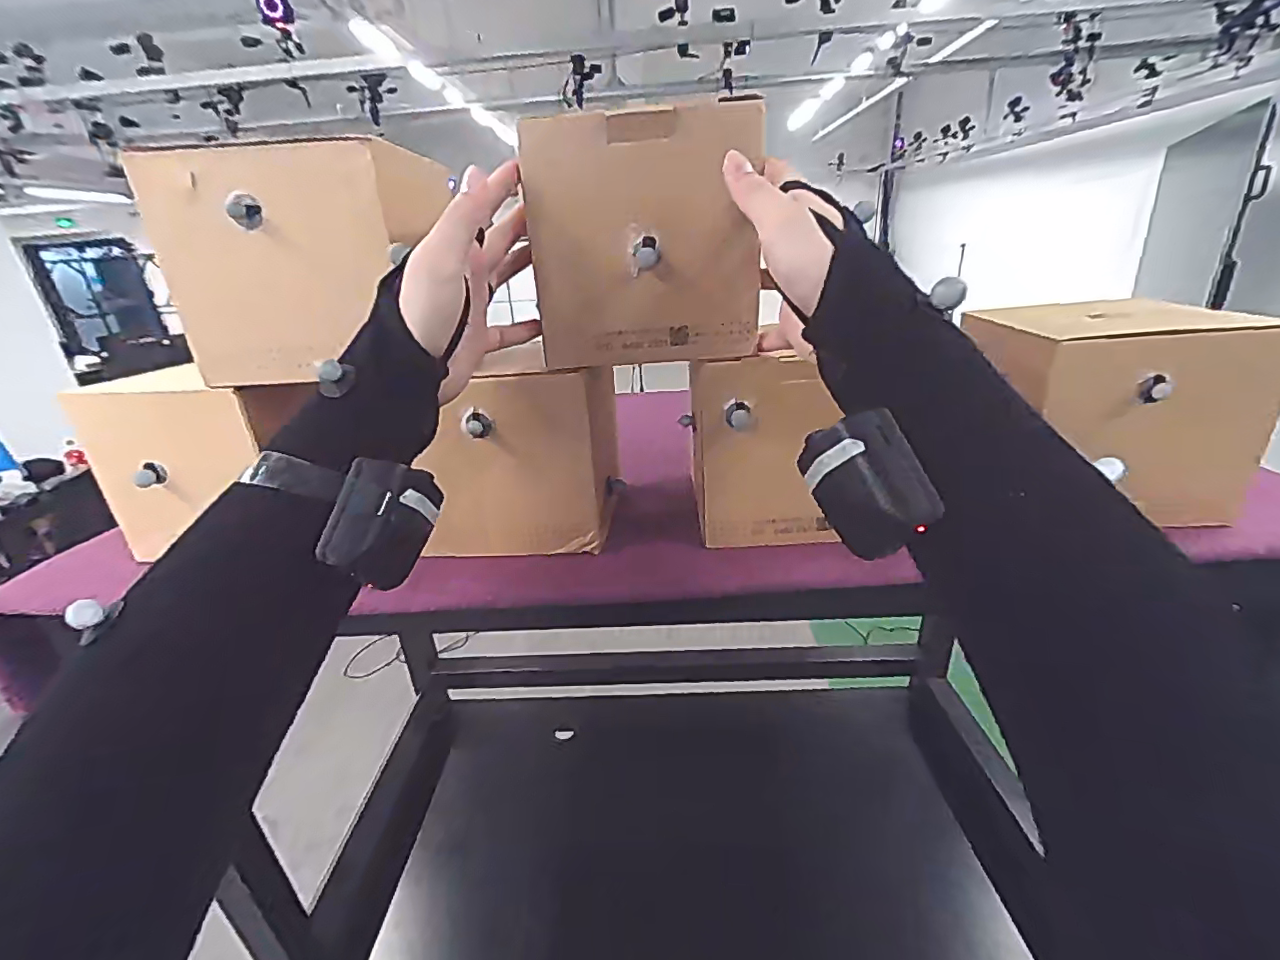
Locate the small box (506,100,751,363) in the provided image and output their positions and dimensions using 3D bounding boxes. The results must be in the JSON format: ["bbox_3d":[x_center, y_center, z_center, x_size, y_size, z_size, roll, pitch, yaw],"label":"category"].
[{"bbox_3d":[-0.001,-0.198,0.457,0.168,0.176,0.179,-4,25,1],"label":"small box"}]

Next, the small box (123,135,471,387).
[{"bbox_3d":[-0.267,-0.181,0.472,0.179,0.176,0.168,-3,23,1],"label":"small box"}]

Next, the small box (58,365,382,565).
[{"bbox_3d":[-0.393,-0.025,0.548,0.168,0.176,0.179,-2,22,6],"label":"small box"}]
